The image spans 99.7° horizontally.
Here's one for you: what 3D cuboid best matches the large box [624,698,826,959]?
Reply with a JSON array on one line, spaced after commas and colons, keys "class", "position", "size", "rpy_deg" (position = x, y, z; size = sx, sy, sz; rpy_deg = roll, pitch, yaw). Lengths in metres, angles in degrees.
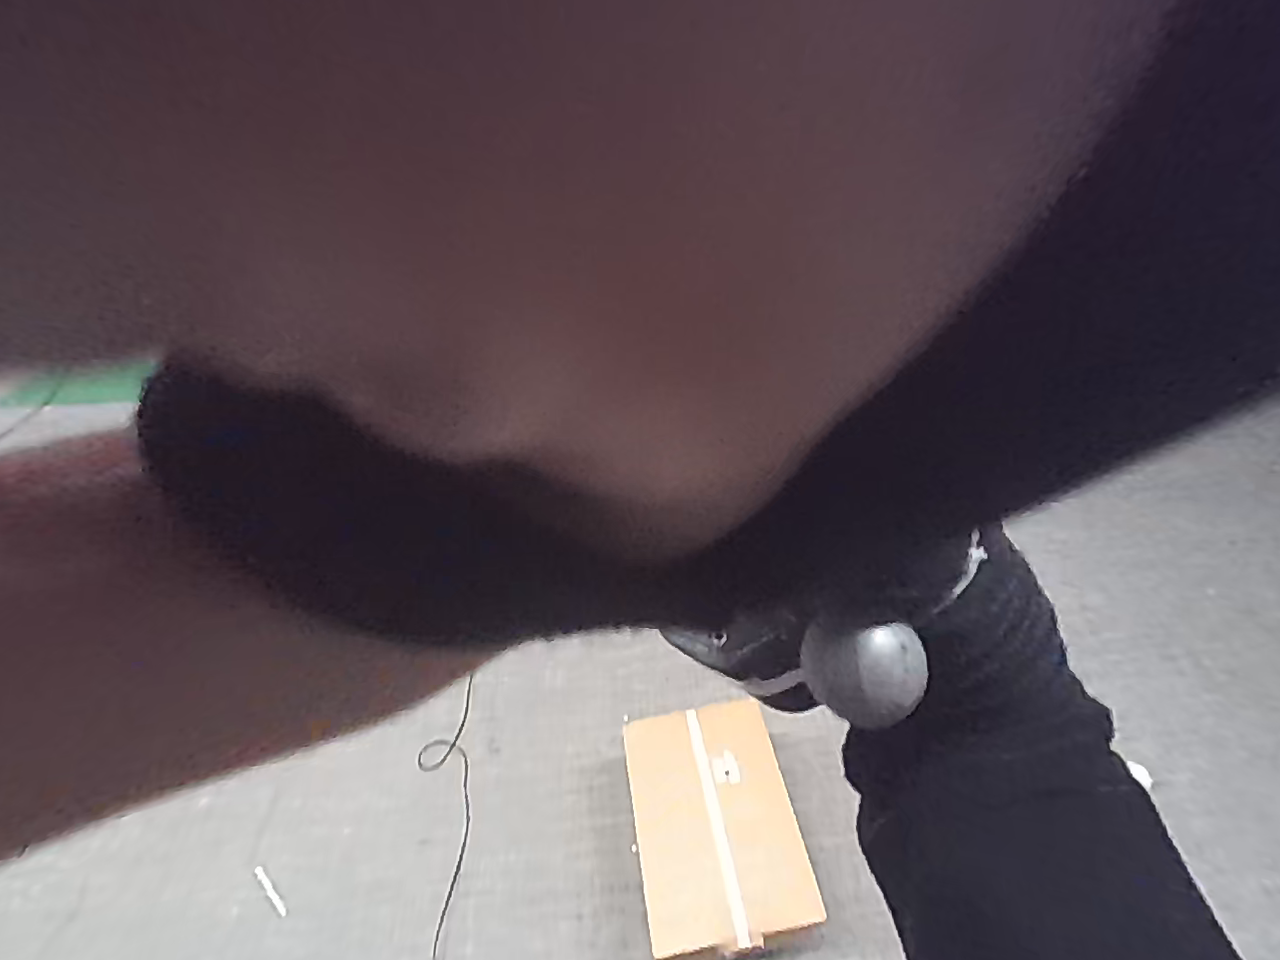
[{"class": "large box", "position": [0.158, 0.762, 1.178], "size": [0.320, 0.320, 0.408], "rpy_deg": [-8, 42, -4]}]
